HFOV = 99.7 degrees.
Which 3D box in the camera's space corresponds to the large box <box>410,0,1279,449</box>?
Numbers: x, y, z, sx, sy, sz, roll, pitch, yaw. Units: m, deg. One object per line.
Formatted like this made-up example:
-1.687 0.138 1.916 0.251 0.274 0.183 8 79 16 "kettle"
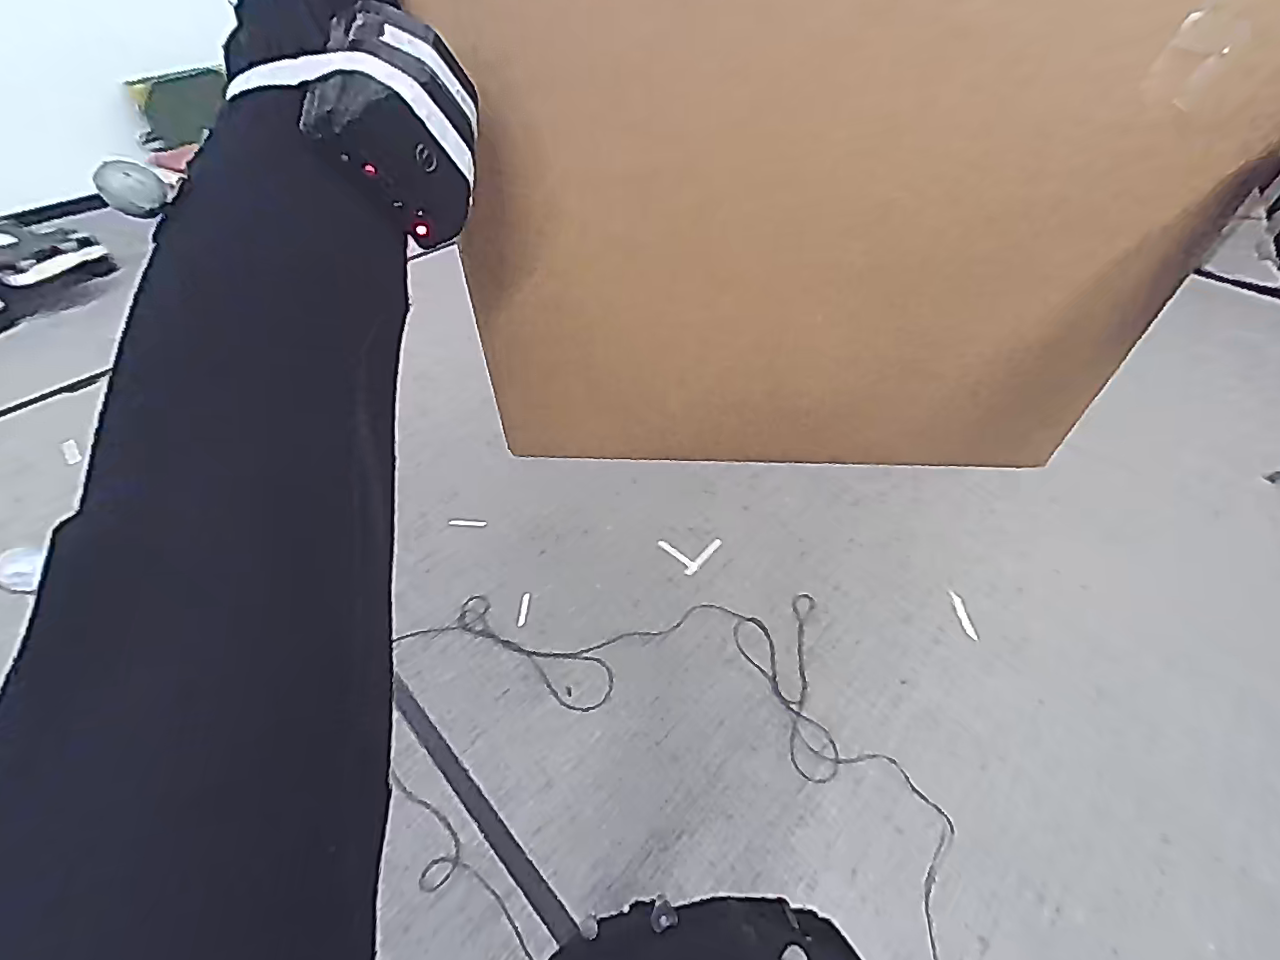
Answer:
0.095 -0.234 0.408 0.408 0.320 0.320 1 47 0 "large box"
